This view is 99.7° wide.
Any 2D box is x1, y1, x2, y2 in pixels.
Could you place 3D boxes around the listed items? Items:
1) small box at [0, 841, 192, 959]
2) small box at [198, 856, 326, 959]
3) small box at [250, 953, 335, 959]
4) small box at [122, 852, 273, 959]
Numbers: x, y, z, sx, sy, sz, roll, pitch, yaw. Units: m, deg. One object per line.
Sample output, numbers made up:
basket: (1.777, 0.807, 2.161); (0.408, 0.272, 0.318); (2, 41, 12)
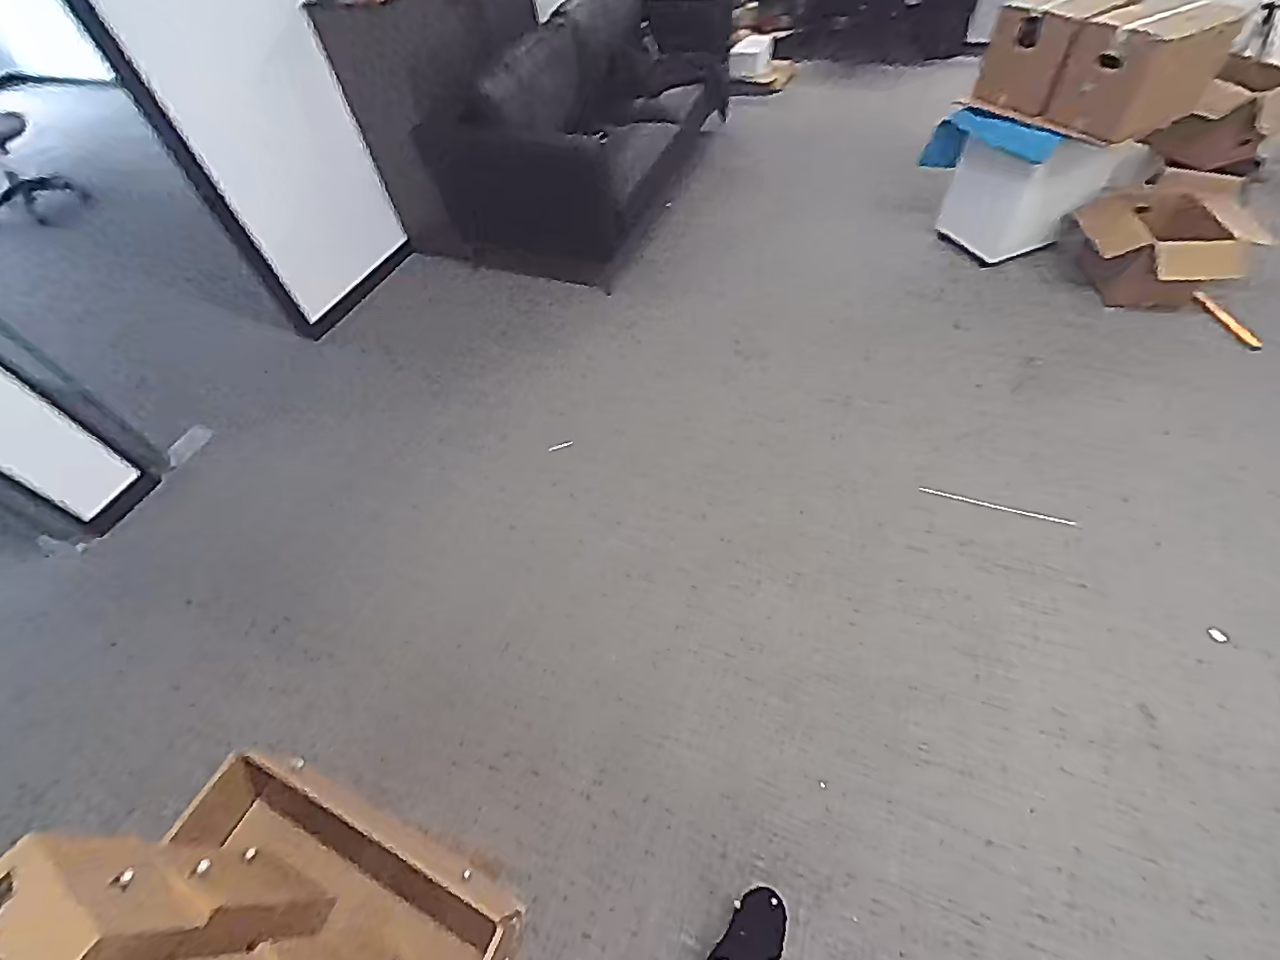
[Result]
small box: (-0.688, 0.559, 0.623); (0.179, 0.176, 0.168); (26, 59, 20)
small box: (-0.670, 0.753, 0.886); (0.179, 0.176, 0.168); (18, 57, 16)
small box: (-0.455, 0.735, 0.673); (0.179, 0.176, 0.168); (26, 58, 24)
small box: (-0.676, 0.656, 0.755); (0.179, 0.176, 0.168); (18, 55, 15)
